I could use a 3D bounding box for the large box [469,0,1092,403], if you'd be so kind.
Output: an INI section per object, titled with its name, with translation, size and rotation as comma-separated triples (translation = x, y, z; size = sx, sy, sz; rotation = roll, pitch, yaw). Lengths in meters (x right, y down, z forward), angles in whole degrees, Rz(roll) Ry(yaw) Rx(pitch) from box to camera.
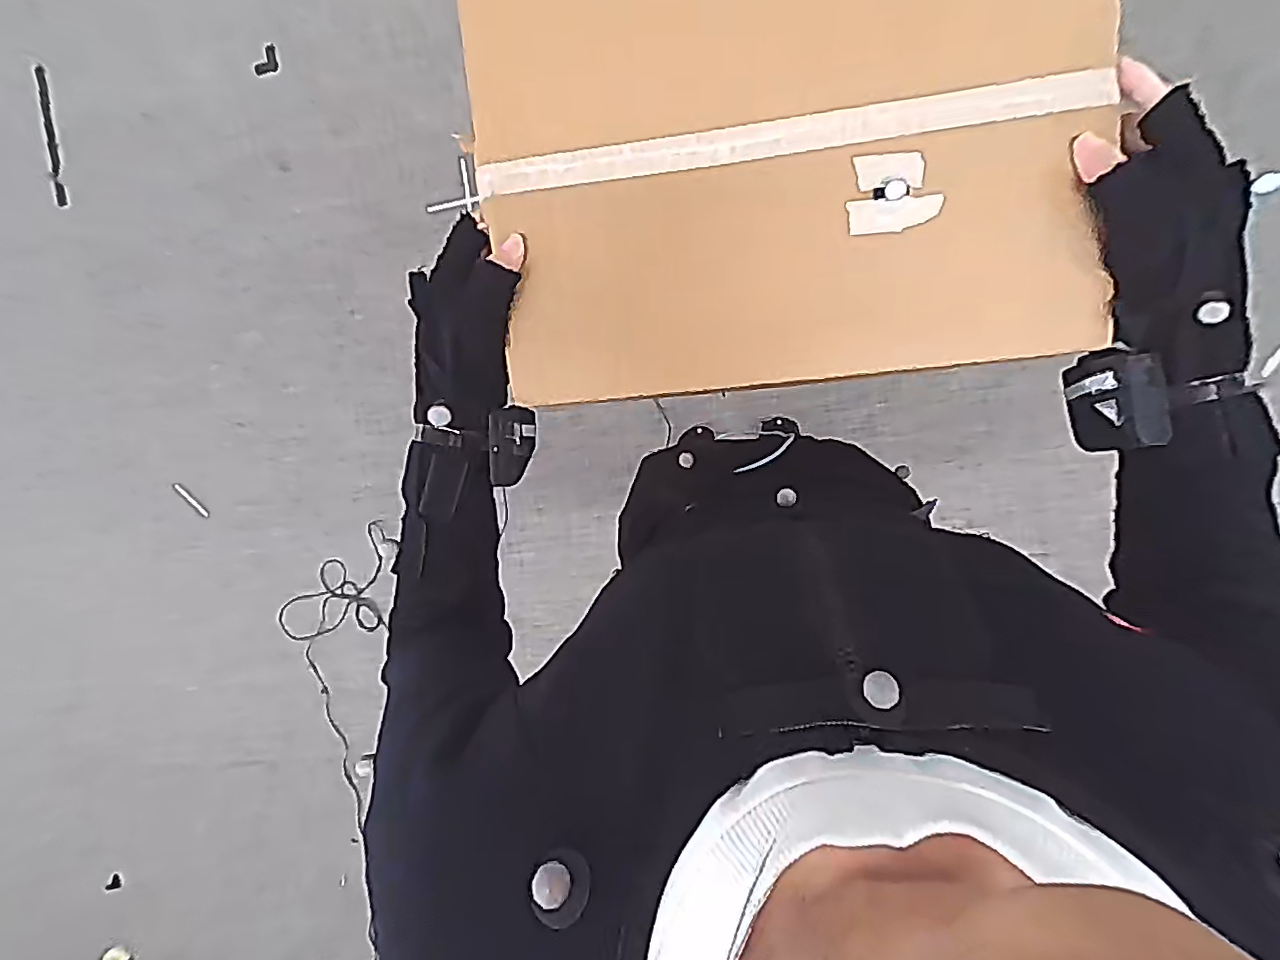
[large box]
translation = 0.103, -0.251, 0.515
size = 0.408, 0.320, 0.320
rotation = -5, 99, 5
